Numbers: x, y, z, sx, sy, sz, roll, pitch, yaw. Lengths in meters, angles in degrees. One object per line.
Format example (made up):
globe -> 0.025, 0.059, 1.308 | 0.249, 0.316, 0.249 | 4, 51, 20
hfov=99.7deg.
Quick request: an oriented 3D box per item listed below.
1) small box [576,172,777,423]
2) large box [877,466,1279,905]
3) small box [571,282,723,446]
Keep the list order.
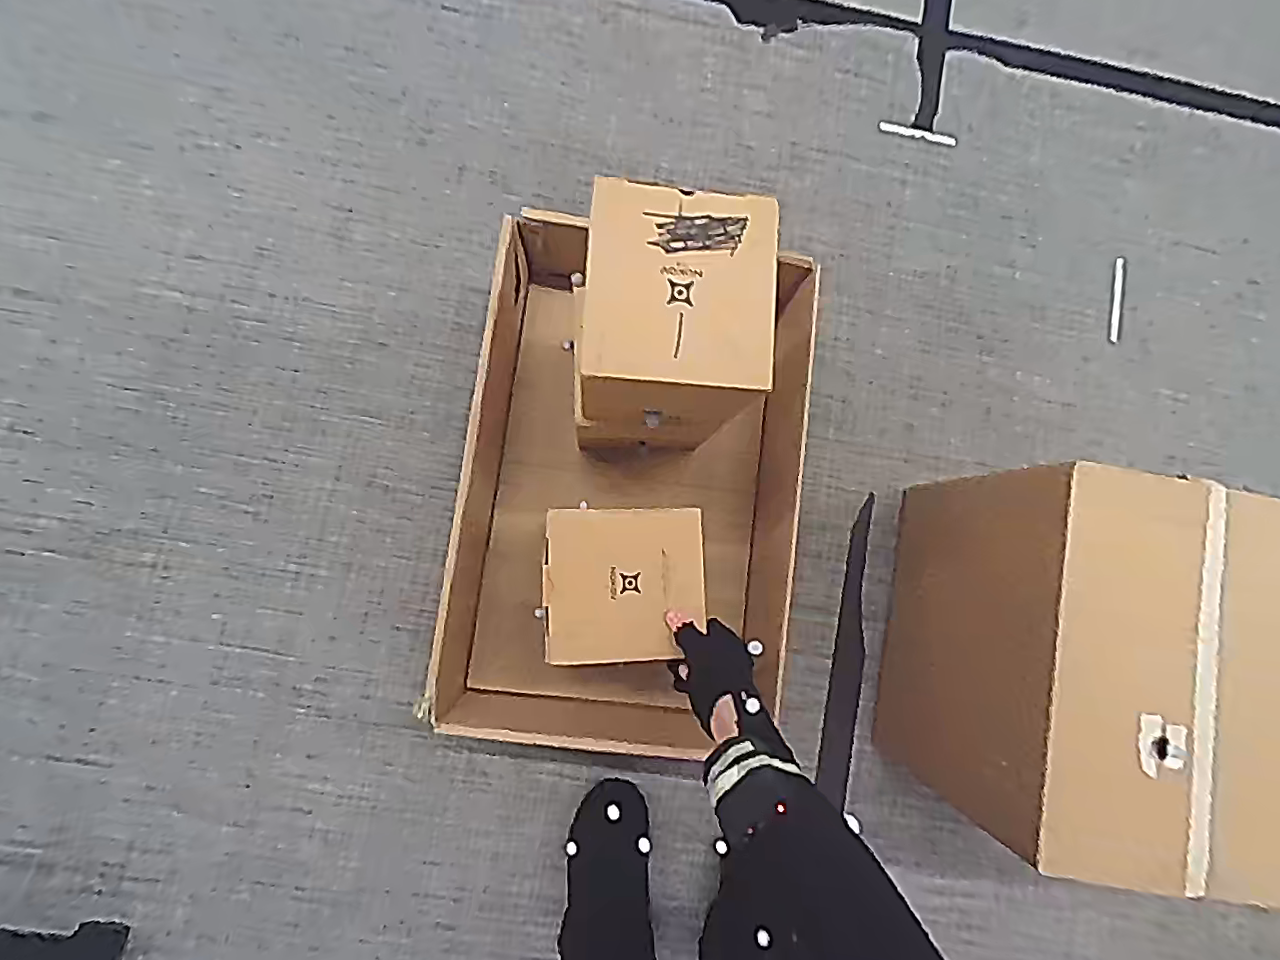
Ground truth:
small box -> 0.026, -0.163, 0.535 | 0.168, 0.176, 0.179 | 4, 85, -4
large box -> 0.540, 0.214, 0.687 | 0.320, 0.320, 0.408 | 10, 84, -3
small box -> 0.001, -0.138, 0.698 | 0.179, 0.176, 0.168 | 0, 85, -5
